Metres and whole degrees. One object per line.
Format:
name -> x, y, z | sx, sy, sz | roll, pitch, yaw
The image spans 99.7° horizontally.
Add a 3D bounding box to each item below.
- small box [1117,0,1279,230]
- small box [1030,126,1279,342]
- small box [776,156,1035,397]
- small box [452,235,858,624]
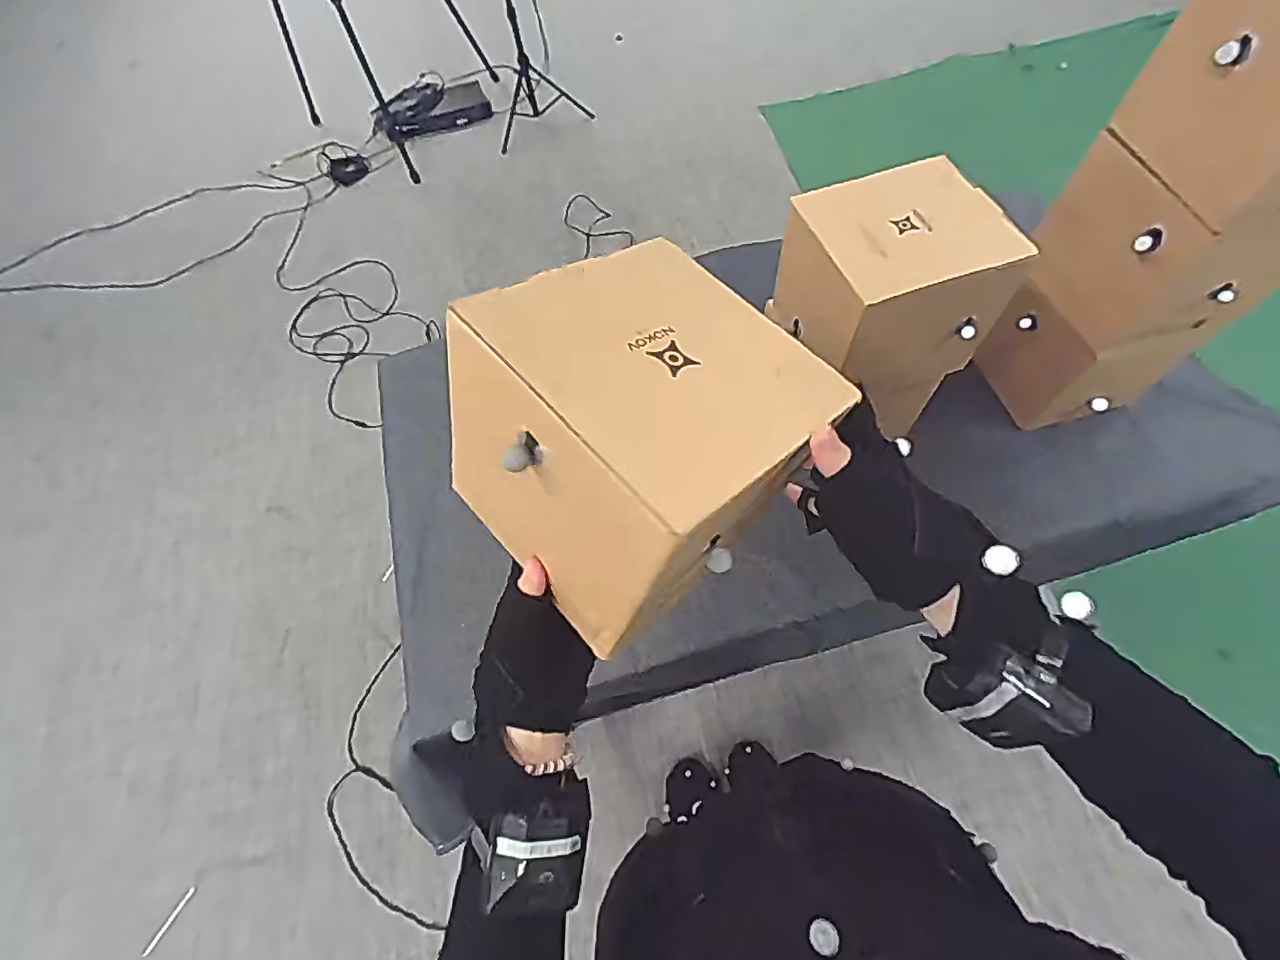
small box -> 0.568, -0.345, 0.450 | 0.168, 0.176, 0.179 | -12, 62, 1
small box -> 0.585, -0.273, 0.597 | 0.168, 0.176, 0.179 | -13, 63, -1
small box -> 0.269, -0.213, 0.601 | 0.179, 0.176, 0.168 | -17, 62, -3
small box -> -0.003, -0.027, 0.363 | 0.168, 0.176, 0.179 | -31, 67, -32
